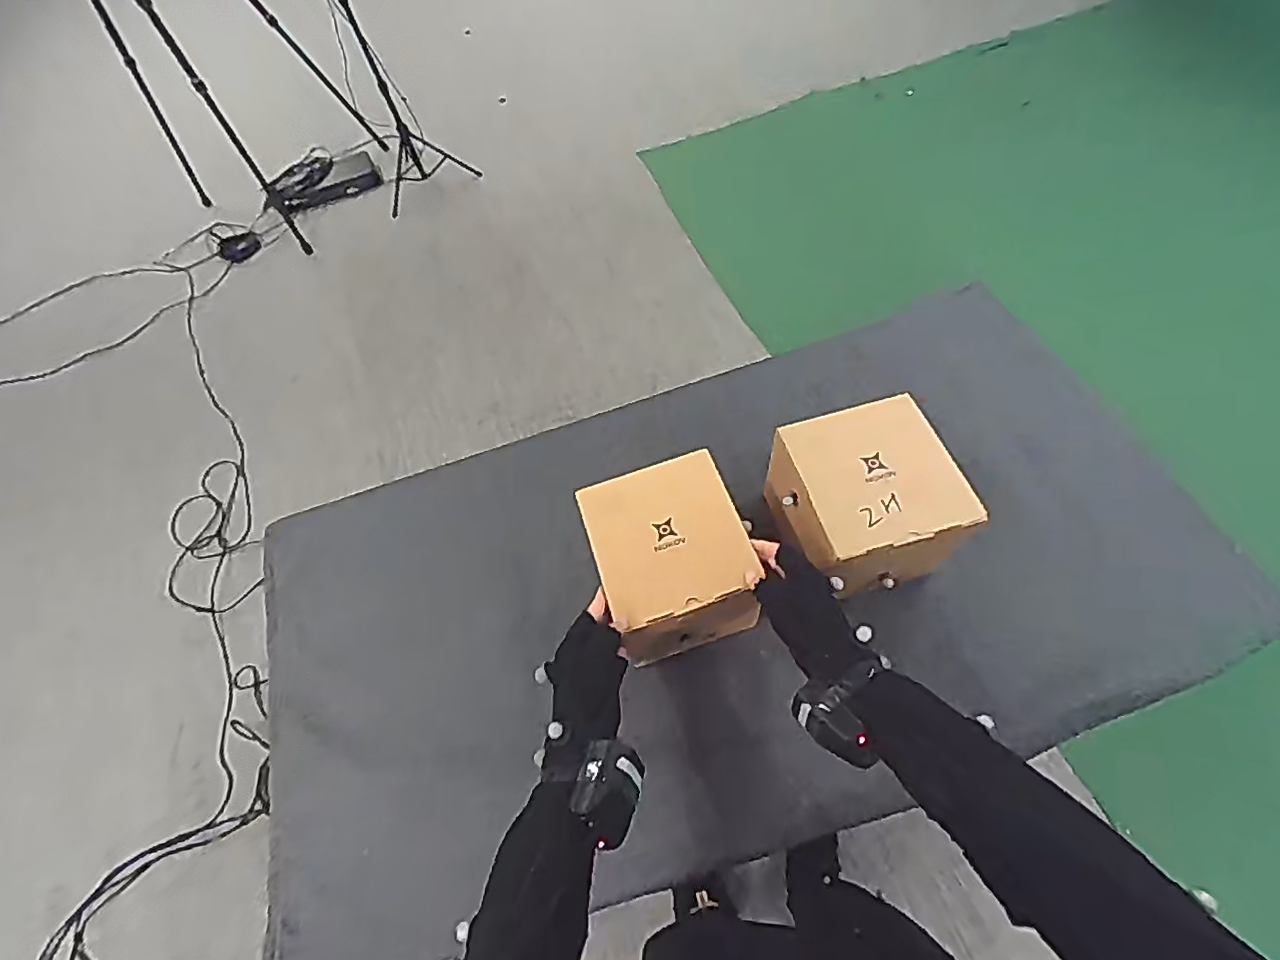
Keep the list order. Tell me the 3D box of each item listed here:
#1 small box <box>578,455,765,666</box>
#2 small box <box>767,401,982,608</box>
[{"bbox_3d":[0.035,0.103,0.660,0.168,0.176,0.179,-19,60,-4],"label":"small box"},{"bbox_3d":[0.266,0.036,0.669,0.168,0.176,0.179,-15,60,-1],"label":"small box"}]
